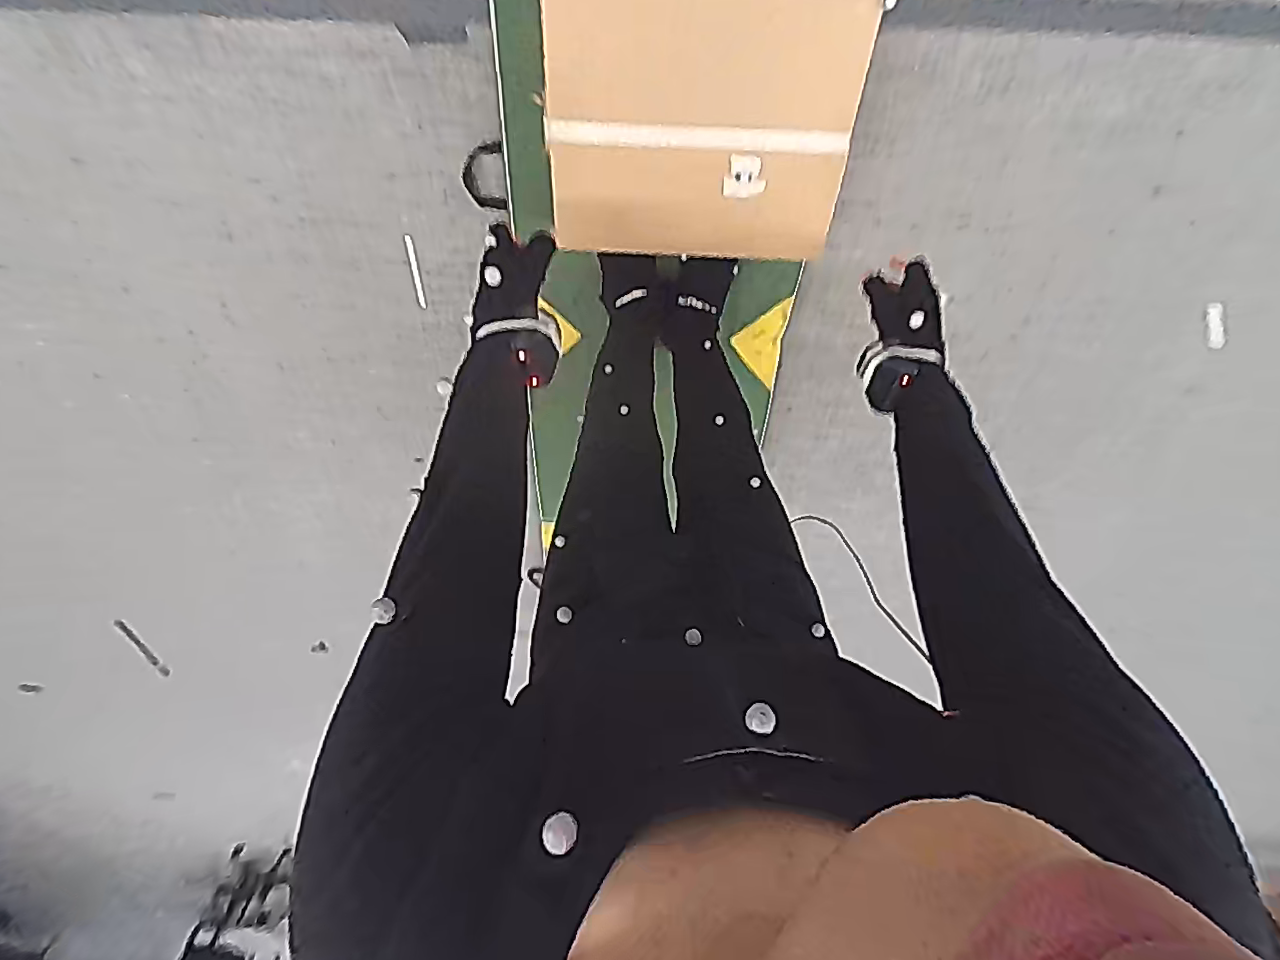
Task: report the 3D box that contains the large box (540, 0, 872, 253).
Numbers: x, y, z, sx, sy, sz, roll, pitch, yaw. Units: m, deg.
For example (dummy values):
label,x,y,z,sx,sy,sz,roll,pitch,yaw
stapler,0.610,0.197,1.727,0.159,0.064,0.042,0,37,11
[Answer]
label,x,y,z,sx,sy,sz,roll,pitch,yaw
large box,0.074,-0.563,0.844,0.408,0.320,0.320,1,131,-2
